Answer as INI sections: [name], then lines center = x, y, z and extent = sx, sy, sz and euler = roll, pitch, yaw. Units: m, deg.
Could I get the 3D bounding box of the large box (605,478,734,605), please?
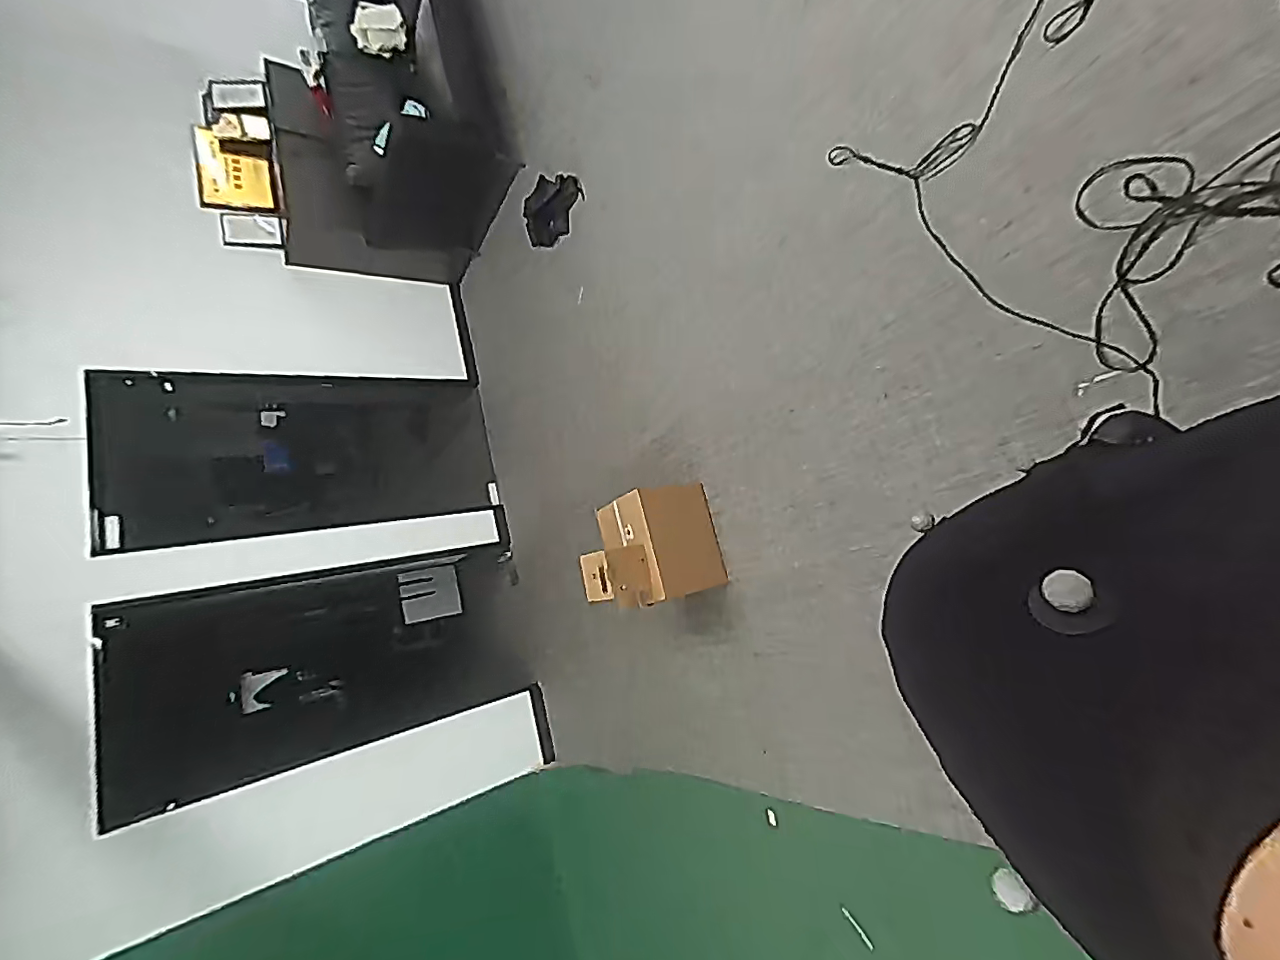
[large box]
center = 0.109, 0.236, 2.083
extent = 0.320, 0.320, 0.408
euler = -30, 69, 51
